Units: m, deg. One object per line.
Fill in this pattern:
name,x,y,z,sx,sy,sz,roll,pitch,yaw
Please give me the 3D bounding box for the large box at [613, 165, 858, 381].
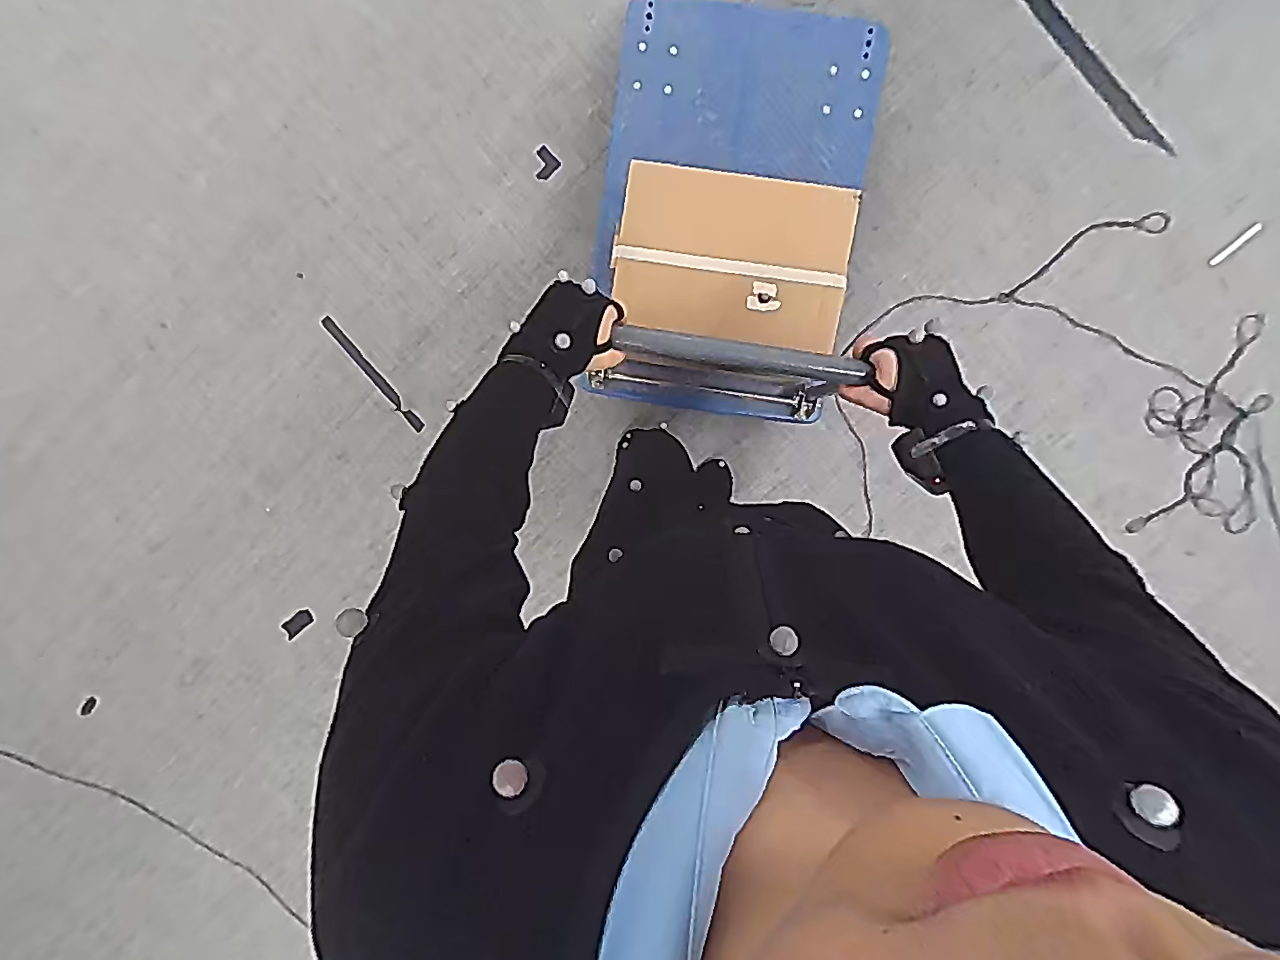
large box,0.168,-0.391,1.105,0.408,0.320,0.320,9,97,1
